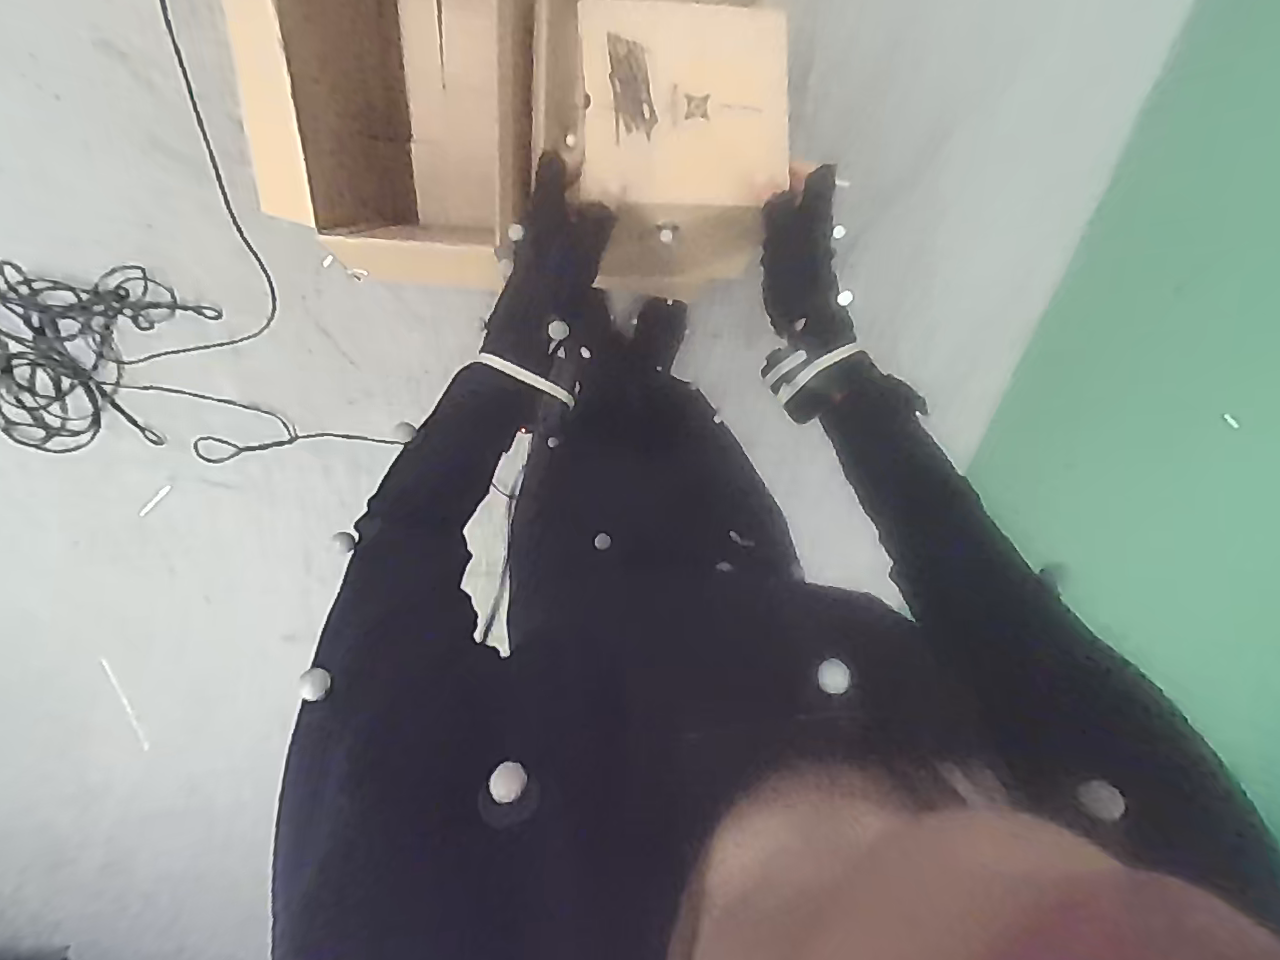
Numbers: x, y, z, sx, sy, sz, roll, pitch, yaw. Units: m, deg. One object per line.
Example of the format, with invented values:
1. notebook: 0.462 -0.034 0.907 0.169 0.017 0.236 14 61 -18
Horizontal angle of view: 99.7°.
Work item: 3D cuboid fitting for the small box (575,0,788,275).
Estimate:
1. small box: 0.029 -0.308 0.522 0.179 0.176 0.168 -1 92 -6
